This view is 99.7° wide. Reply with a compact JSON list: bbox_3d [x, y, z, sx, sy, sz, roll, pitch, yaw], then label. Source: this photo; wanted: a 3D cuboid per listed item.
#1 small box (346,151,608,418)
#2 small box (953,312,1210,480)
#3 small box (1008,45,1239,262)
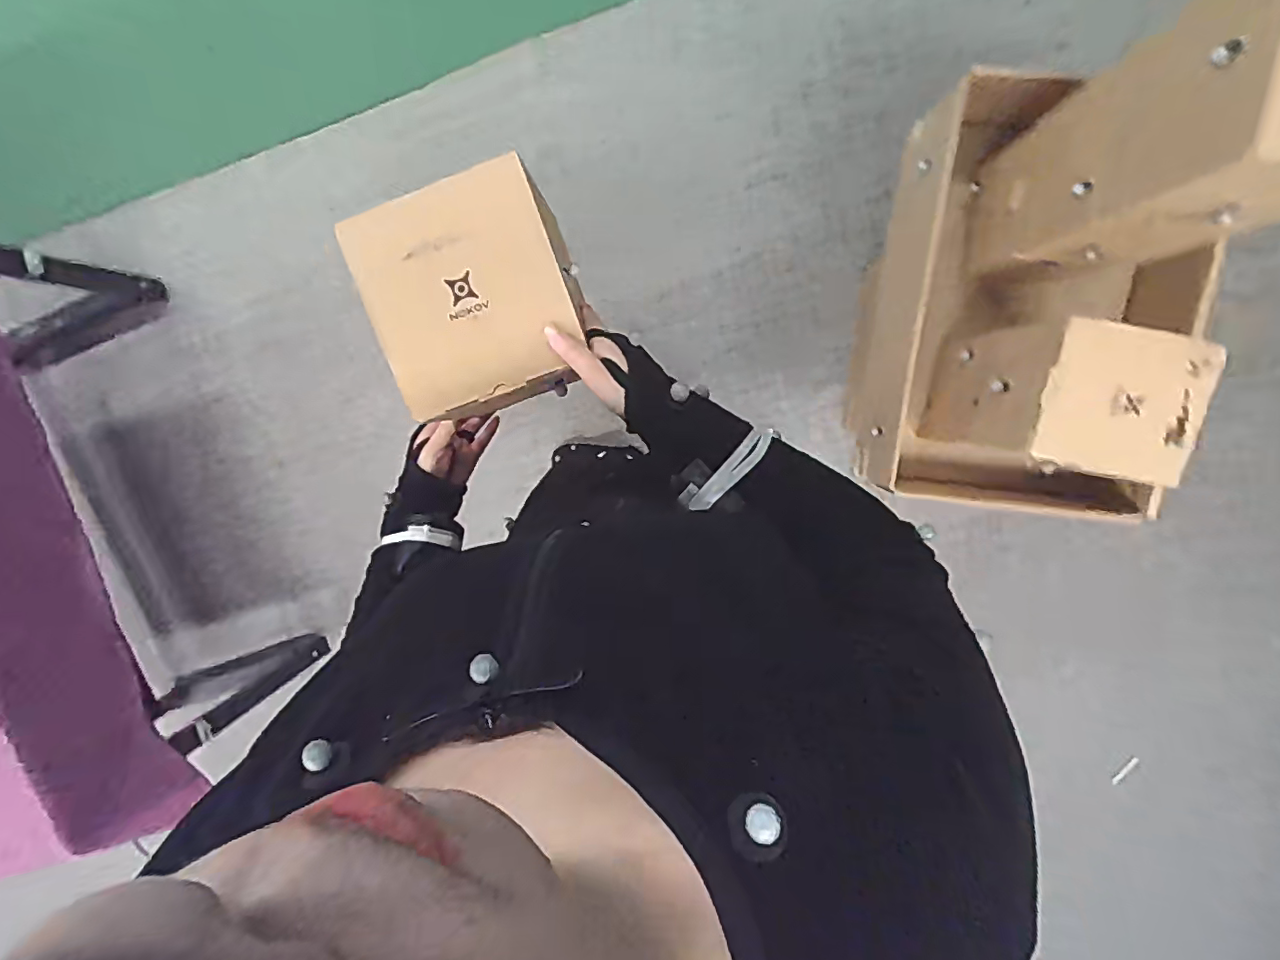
[{"bbox_3d":[-0.136,-0.172,0.526,0.168,0.176,0.179,-18,99,4],"label":"small box"},{"bbox_3d":[0.552,-0.108,0.709,0.179,0.176,0.168,13,100,3],"label":"small box"},{"bbox_3d":[0.593,-0.383,0.664,0.168,0.176,0.179,5,101,4],"label":"small box"}]
